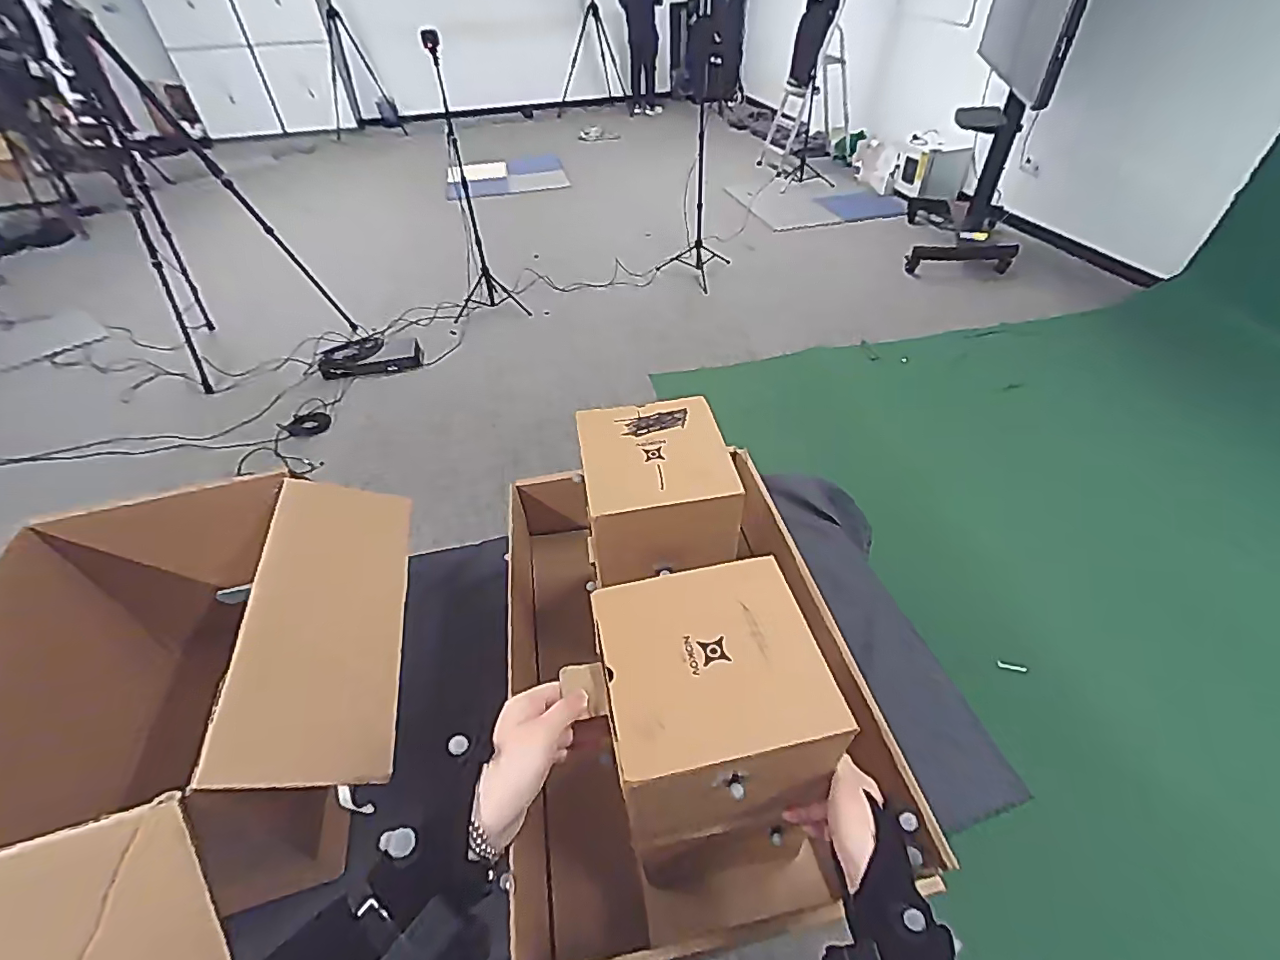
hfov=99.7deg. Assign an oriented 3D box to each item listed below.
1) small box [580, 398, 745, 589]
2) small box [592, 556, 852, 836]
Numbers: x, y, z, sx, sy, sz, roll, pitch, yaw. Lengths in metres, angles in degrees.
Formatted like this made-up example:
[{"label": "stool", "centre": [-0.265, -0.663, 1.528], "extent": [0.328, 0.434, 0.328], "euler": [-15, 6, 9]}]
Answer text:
[{"label": "small box", "centre": [0.020, 0.023, 0.674], "extent": [0.168, 0.176, 0.179], "euler": [-8, 46, -5]}, {"label": "small box", "centre": [0.061, 0.198, 0.495], "extent": [0.179, 0.176, 0.168], "euler": [-10, 45, -7]}]
